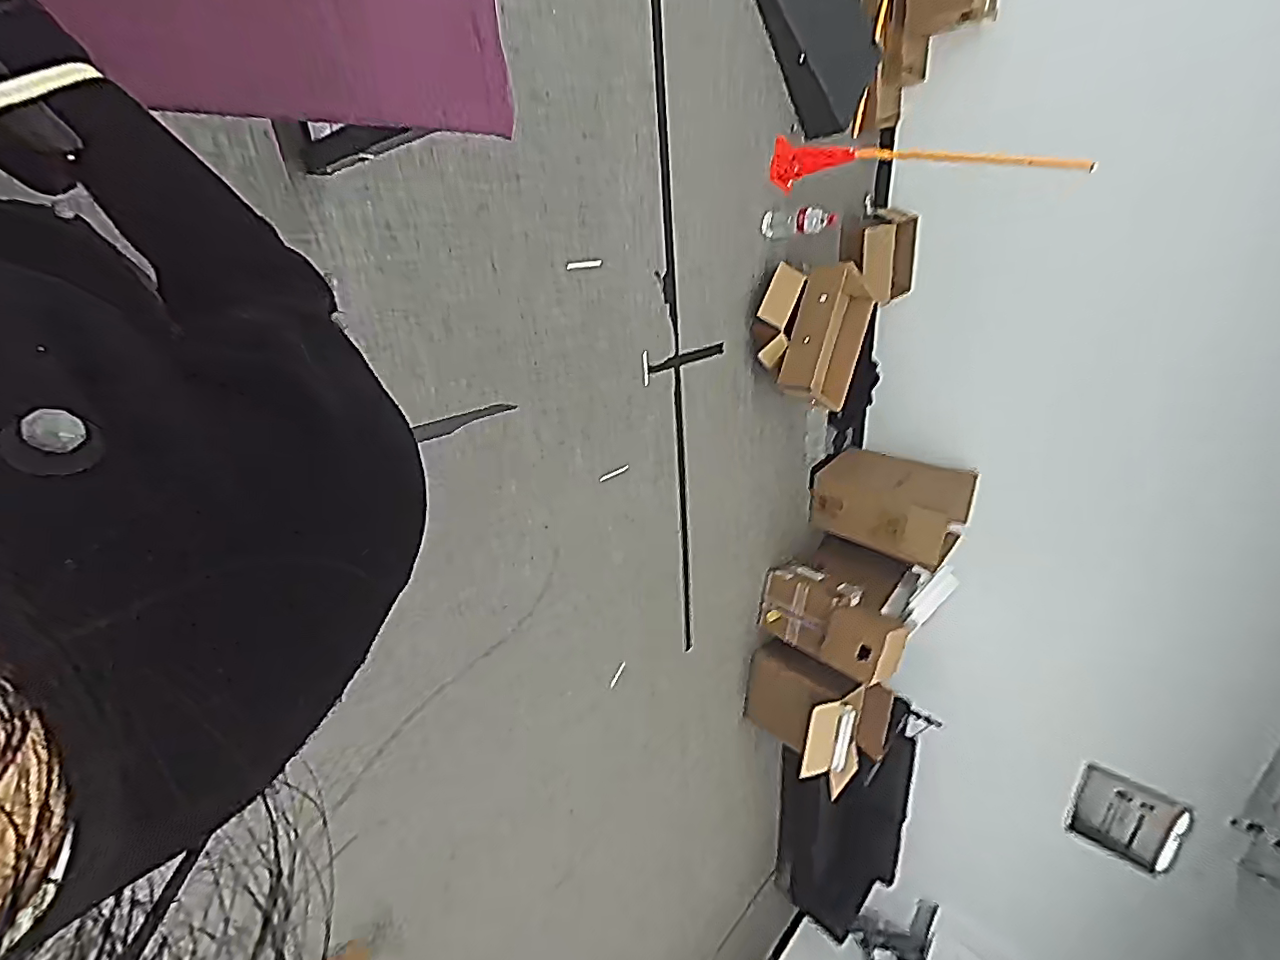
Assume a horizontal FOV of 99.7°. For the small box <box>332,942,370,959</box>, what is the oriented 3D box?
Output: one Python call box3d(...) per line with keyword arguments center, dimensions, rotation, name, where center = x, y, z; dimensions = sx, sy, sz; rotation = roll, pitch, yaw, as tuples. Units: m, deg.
box3d(center=(-0.959, 1.681, 1.775), dimensions=(0.168, 0.176, 0.179), rotation=(-29, 124, -38), name="small box")
